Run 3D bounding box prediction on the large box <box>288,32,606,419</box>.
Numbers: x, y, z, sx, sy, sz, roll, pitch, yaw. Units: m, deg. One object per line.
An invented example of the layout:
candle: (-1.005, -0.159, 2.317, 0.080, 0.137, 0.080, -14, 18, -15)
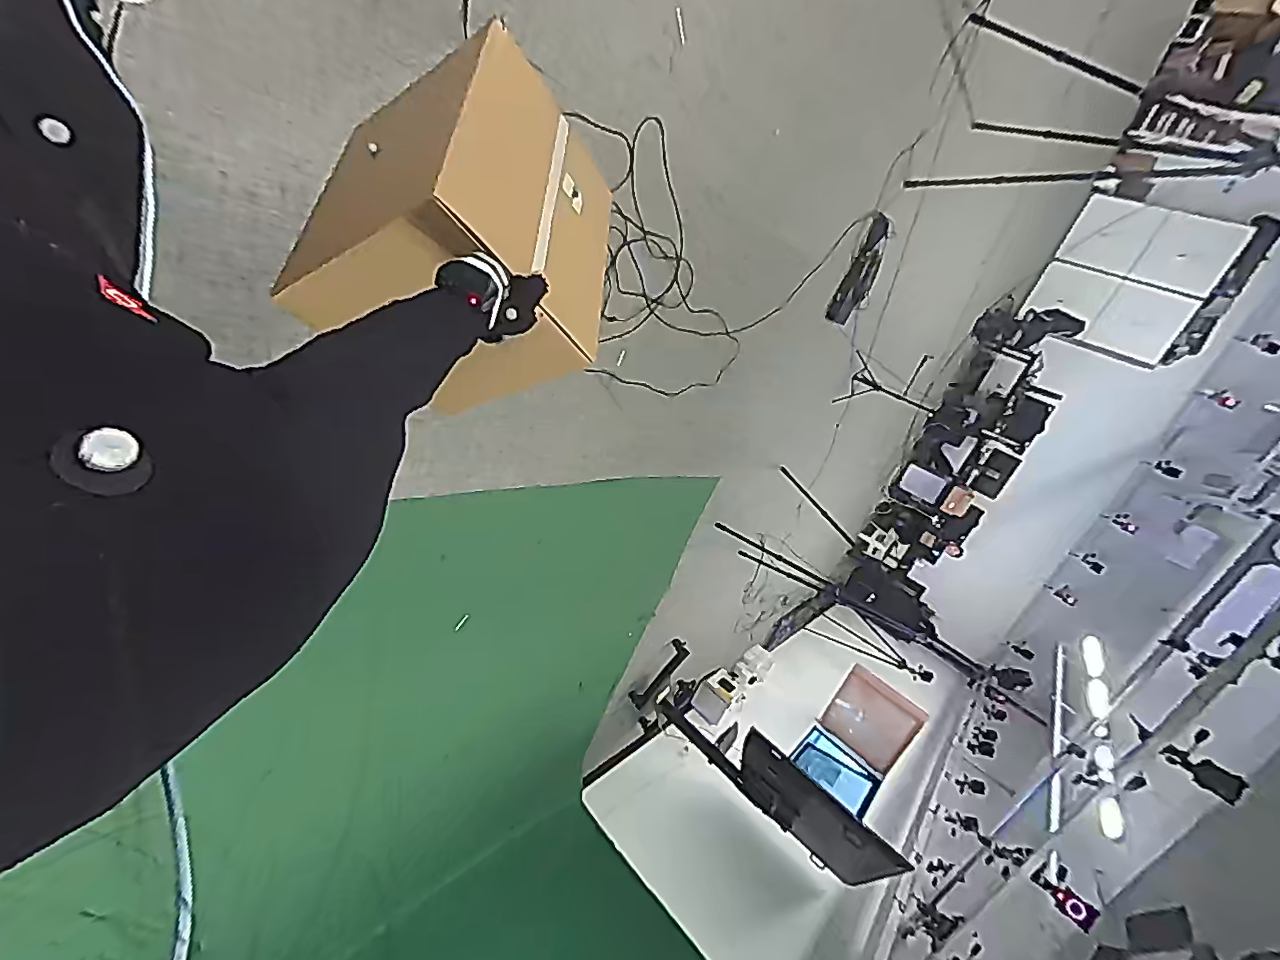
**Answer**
large box: (-0.271, -0.370, 0.860, 0.320, 0.320, 0.408, 41, 42, -49)
